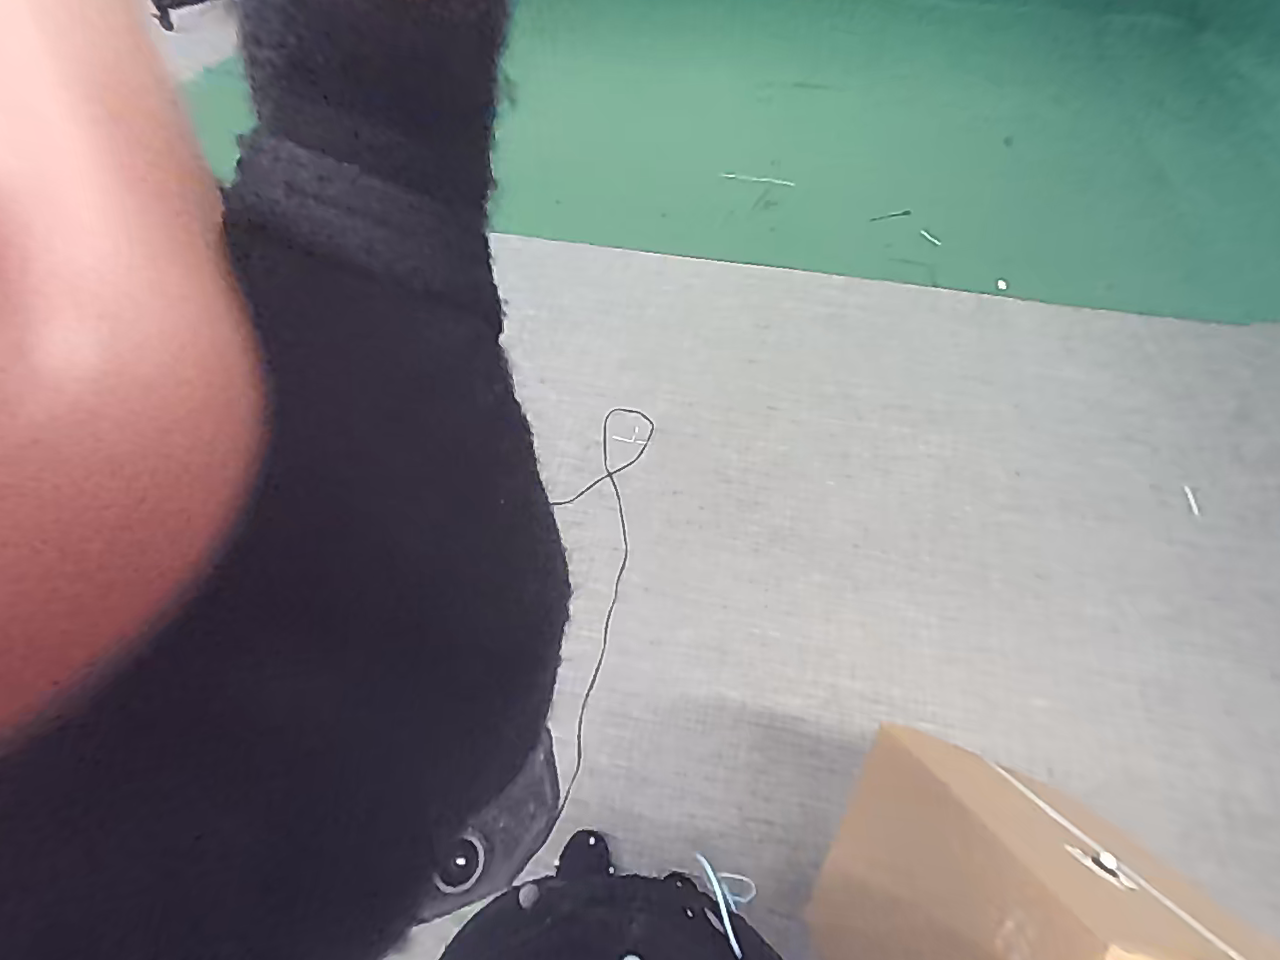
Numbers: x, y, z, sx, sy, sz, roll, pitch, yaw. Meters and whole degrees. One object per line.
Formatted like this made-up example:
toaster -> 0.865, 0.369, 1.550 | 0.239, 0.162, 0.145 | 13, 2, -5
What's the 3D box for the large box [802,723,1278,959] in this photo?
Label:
large box -> 0.428, 0.549, 0.589 | 0.320, 0.408, 0.320 | 22, 90, 1
